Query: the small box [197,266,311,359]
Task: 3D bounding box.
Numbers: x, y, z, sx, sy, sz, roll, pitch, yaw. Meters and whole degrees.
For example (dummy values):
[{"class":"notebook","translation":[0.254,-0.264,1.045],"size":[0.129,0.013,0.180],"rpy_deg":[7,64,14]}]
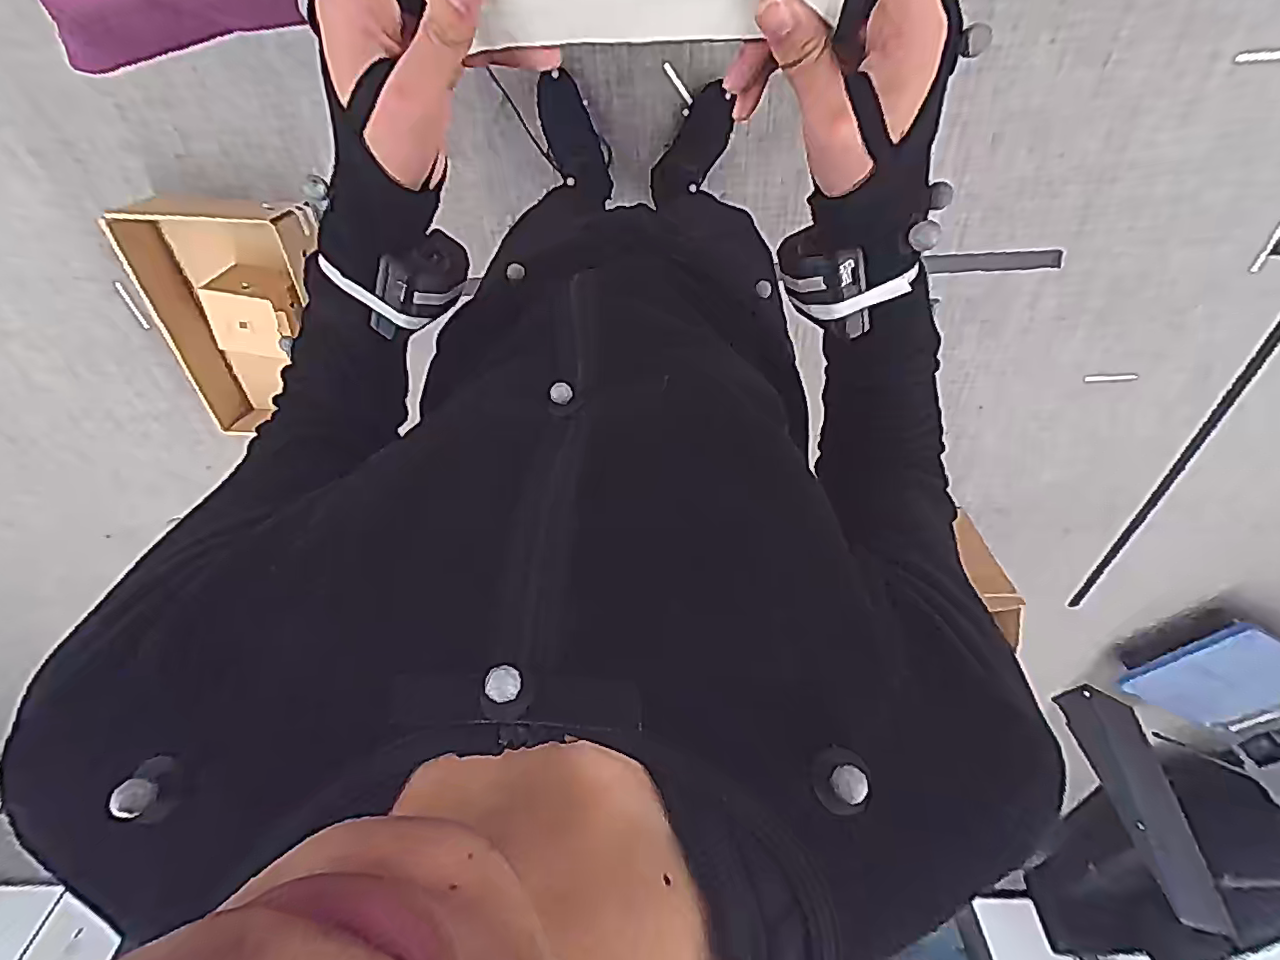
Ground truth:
[{"class":"small box","translation":[-0.990,-0.440,1.413],"size":[0.179,0.176,0.168],"rpy_deg":[8,131,-7]}]
